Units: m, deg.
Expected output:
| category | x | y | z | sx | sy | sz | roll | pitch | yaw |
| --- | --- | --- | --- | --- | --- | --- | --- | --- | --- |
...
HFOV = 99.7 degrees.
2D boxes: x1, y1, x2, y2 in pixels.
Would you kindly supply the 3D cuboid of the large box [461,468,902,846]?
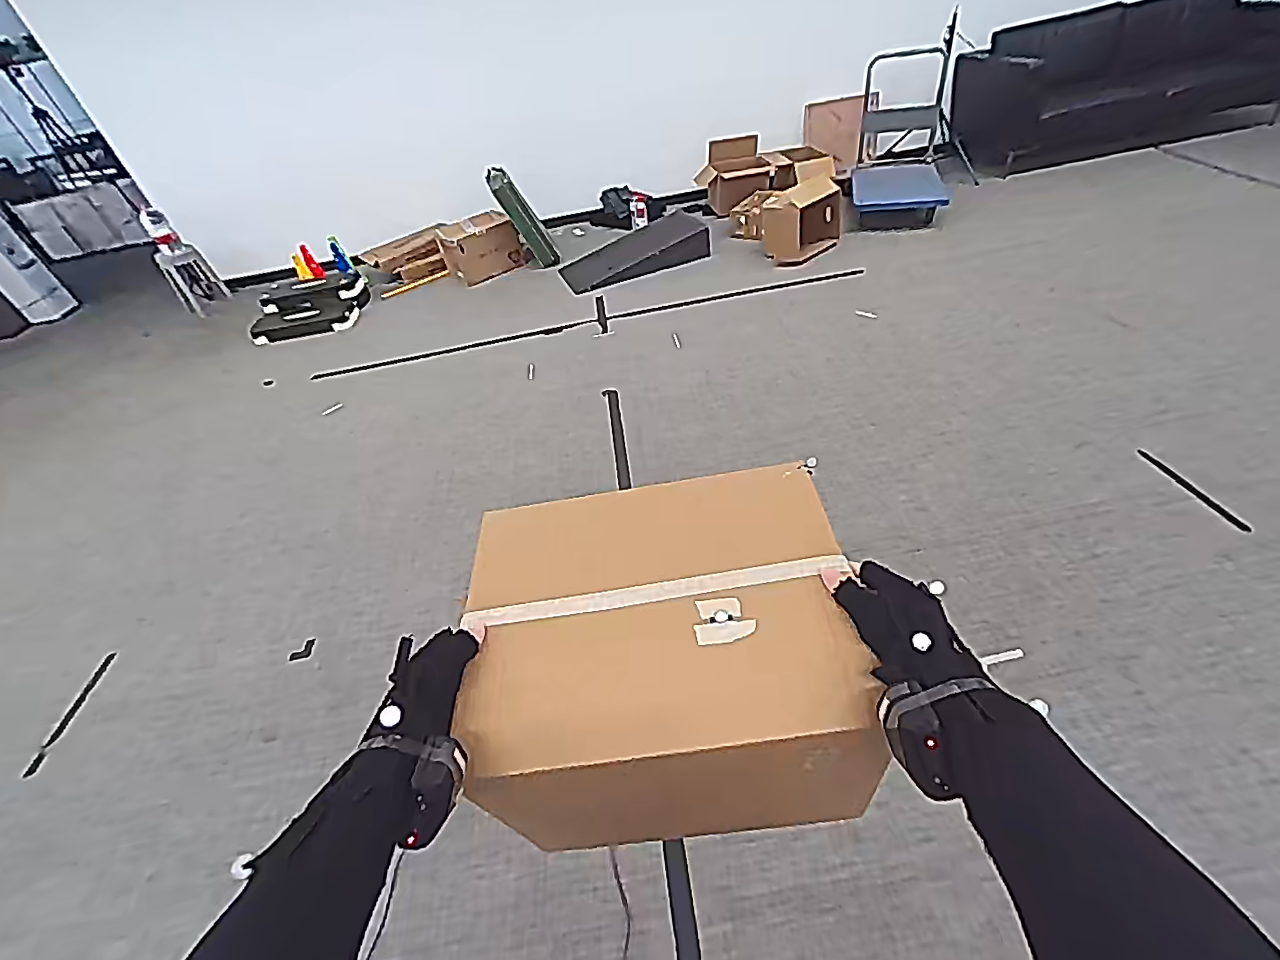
| category | x | y | z | sx | sy | sz | roll | pitch | yaw |
| --- | --- | --- | --- | --- | --- | --- | --- | --- | --- |
| large box | 0.042 | 0.226 | 0.681 | 0.408 | 0.320 | 0.320 | -9 | 46 | 3 |
